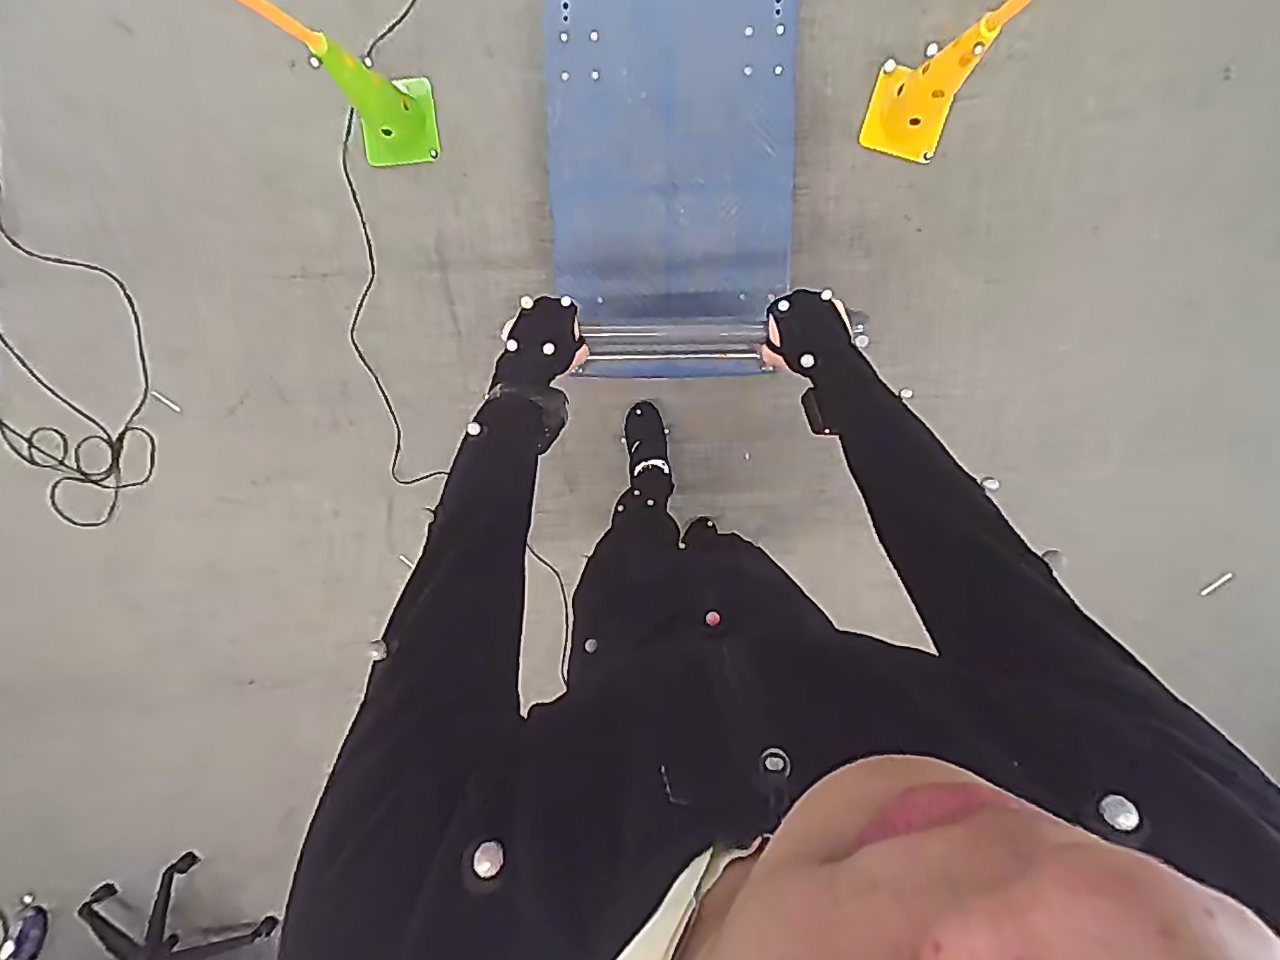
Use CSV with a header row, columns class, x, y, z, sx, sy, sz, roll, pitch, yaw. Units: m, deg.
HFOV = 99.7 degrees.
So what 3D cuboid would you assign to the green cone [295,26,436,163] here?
class,x,y,z,sx,sy,sz,roll,pitch,yaw
green cone,-0.650,-0.916,1.246,0.202,0.368,0.200,-5,100,4
